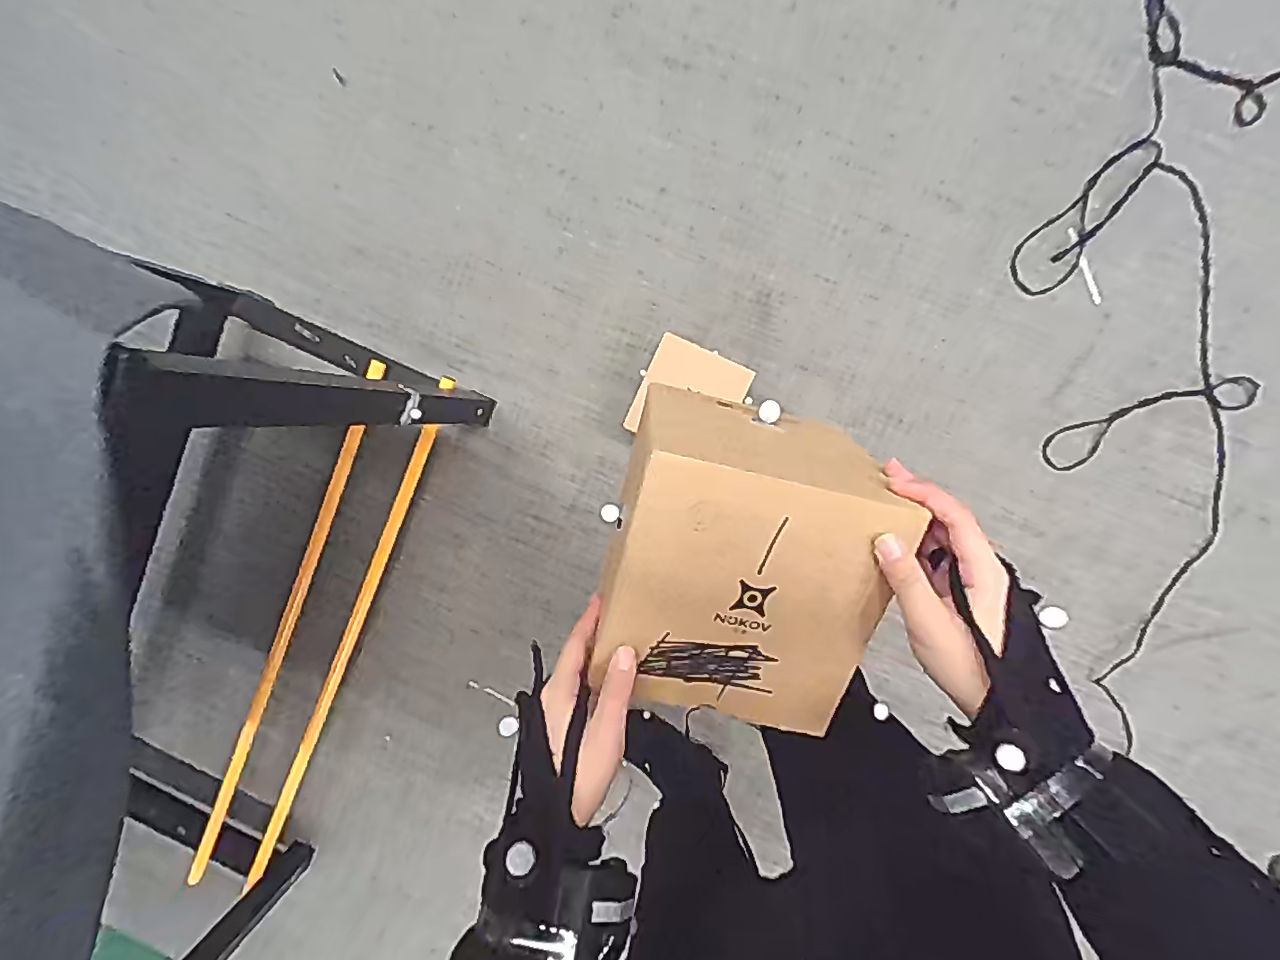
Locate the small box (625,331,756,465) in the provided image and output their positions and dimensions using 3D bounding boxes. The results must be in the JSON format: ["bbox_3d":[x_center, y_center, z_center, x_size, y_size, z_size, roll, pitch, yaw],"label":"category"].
[{"bbox_3d":[0.088,-0.143,0.973,0.168,0.176,0.179,26,98,4],"label":"small box"}]
